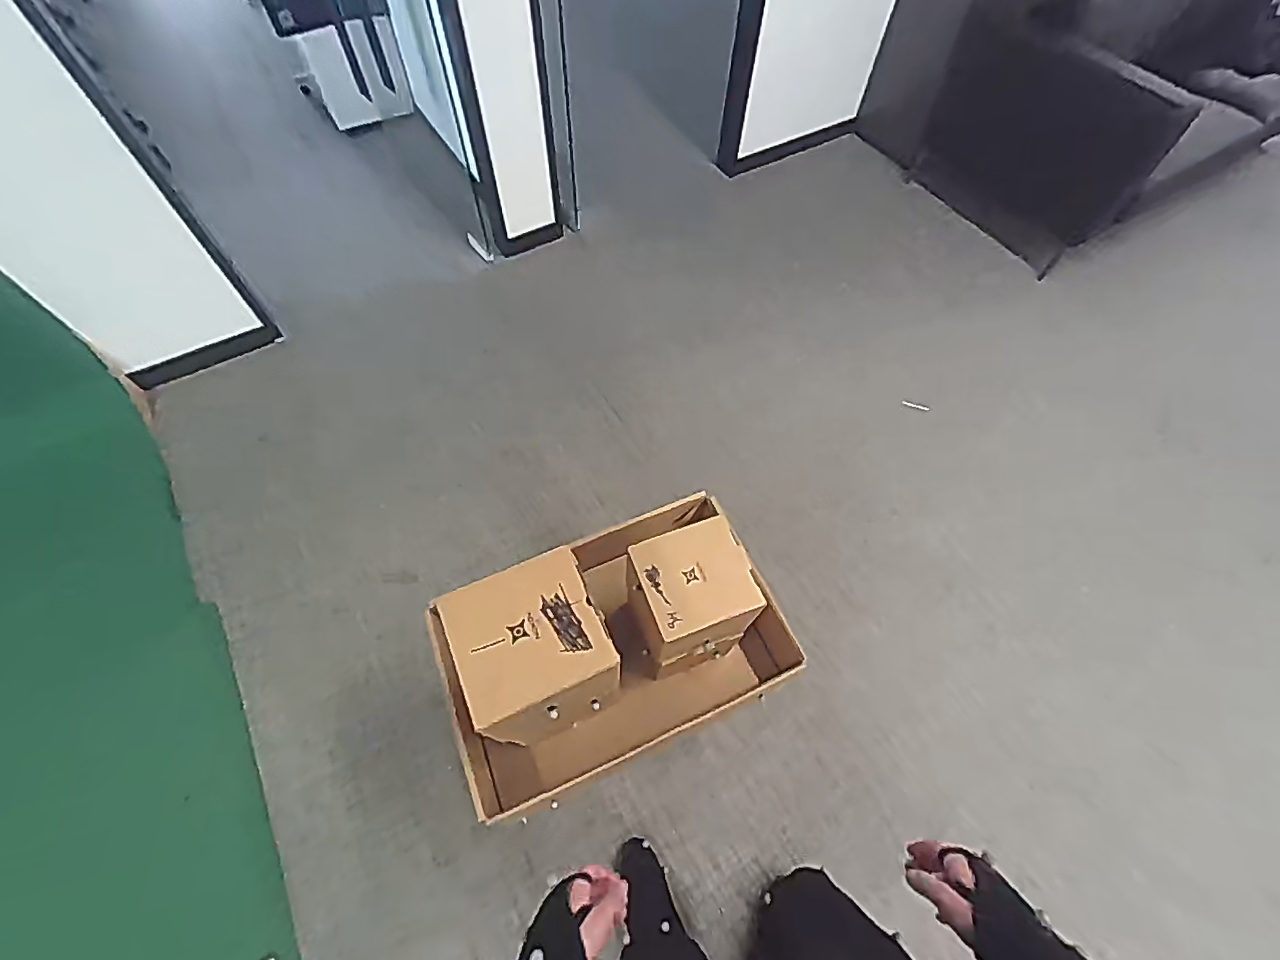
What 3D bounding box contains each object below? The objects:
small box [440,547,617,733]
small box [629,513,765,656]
[{"bbox_3d":[-0.141,0.219,0.727,0.179,0.176,0.168,-23,64,-12],"label":"small box"},{"bbox_3d":[0.087,0.185,0.933,0.179,0.176,0.168,-18,63,-10],"label":"small box"}]
